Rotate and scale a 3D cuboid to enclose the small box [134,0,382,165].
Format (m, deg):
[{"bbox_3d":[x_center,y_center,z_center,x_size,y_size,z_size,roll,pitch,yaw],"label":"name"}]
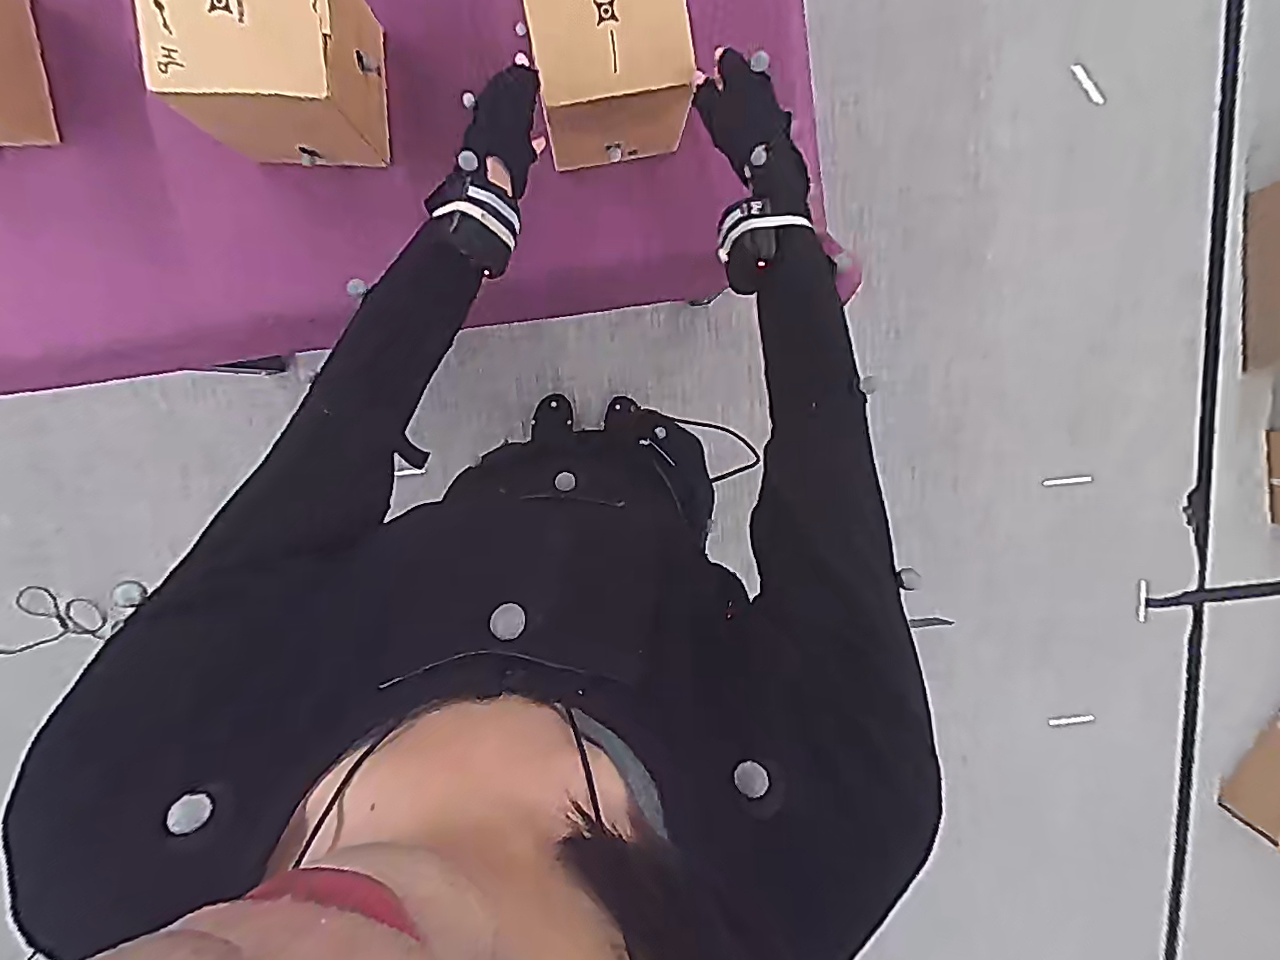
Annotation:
[{"bbox_3d":[-0.402,-0.473,0.600,0.179,0.176,0.168,0,98,-5],"label":"small box"}]

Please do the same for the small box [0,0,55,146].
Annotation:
[{"bbox_3d":[-0.792,-0.482,0.566,0.168,0.176,0.179,-4,100,-3],"label":"small box"}]

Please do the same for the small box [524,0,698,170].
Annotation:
[{"bbox_3d":[-0.040,-0.494,0.625,0.168,0.176,0.179,-11,100,-2],"label":"small box"}]
